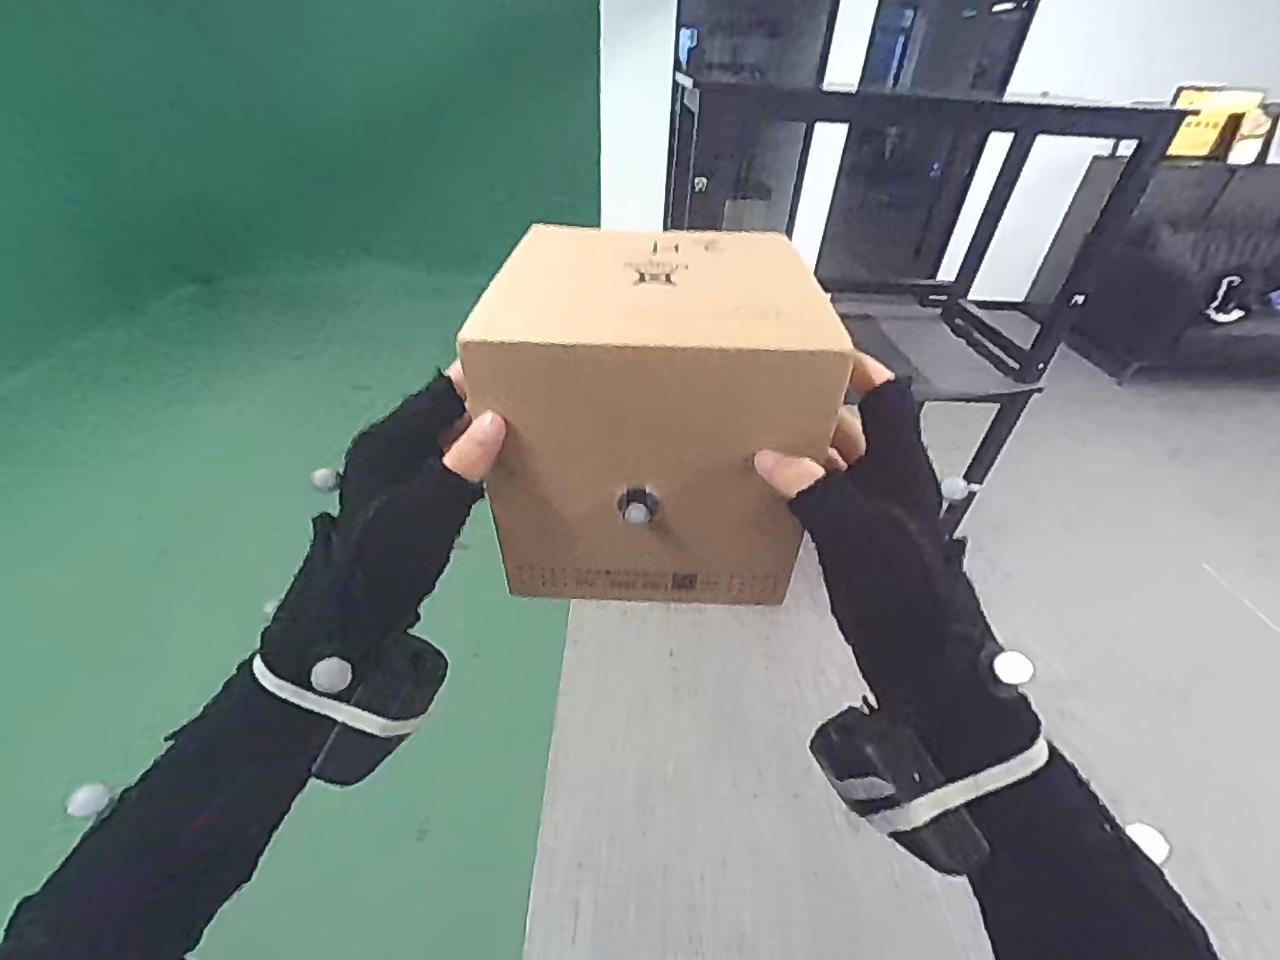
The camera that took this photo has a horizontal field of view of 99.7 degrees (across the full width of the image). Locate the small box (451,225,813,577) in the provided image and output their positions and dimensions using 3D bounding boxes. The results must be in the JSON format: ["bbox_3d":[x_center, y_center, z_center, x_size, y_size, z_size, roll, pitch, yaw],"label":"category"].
[{"bbox_3d":[0.000,-0.055,0.351,0.168,0.176,0.179,3,37,2],"label":"small box"}]
